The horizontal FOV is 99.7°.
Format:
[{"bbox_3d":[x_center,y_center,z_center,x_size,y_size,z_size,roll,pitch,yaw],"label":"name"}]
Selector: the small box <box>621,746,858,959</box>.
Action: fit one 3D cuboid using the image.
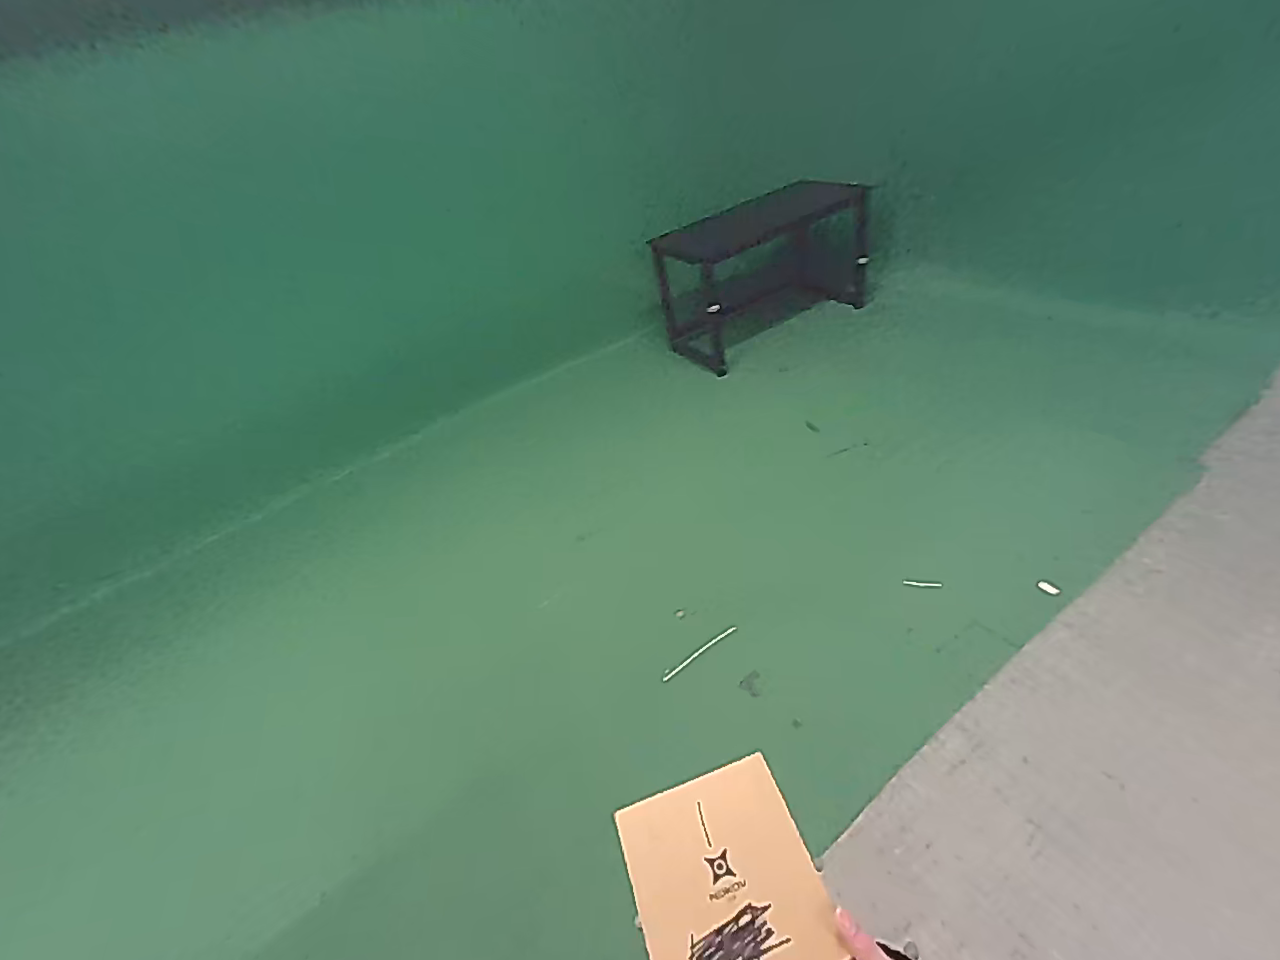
[{"bbox_3d":[0.095,0.411,0.546,0.168,0.176,0.179,-19,42,-5],"label":"small box"}]
